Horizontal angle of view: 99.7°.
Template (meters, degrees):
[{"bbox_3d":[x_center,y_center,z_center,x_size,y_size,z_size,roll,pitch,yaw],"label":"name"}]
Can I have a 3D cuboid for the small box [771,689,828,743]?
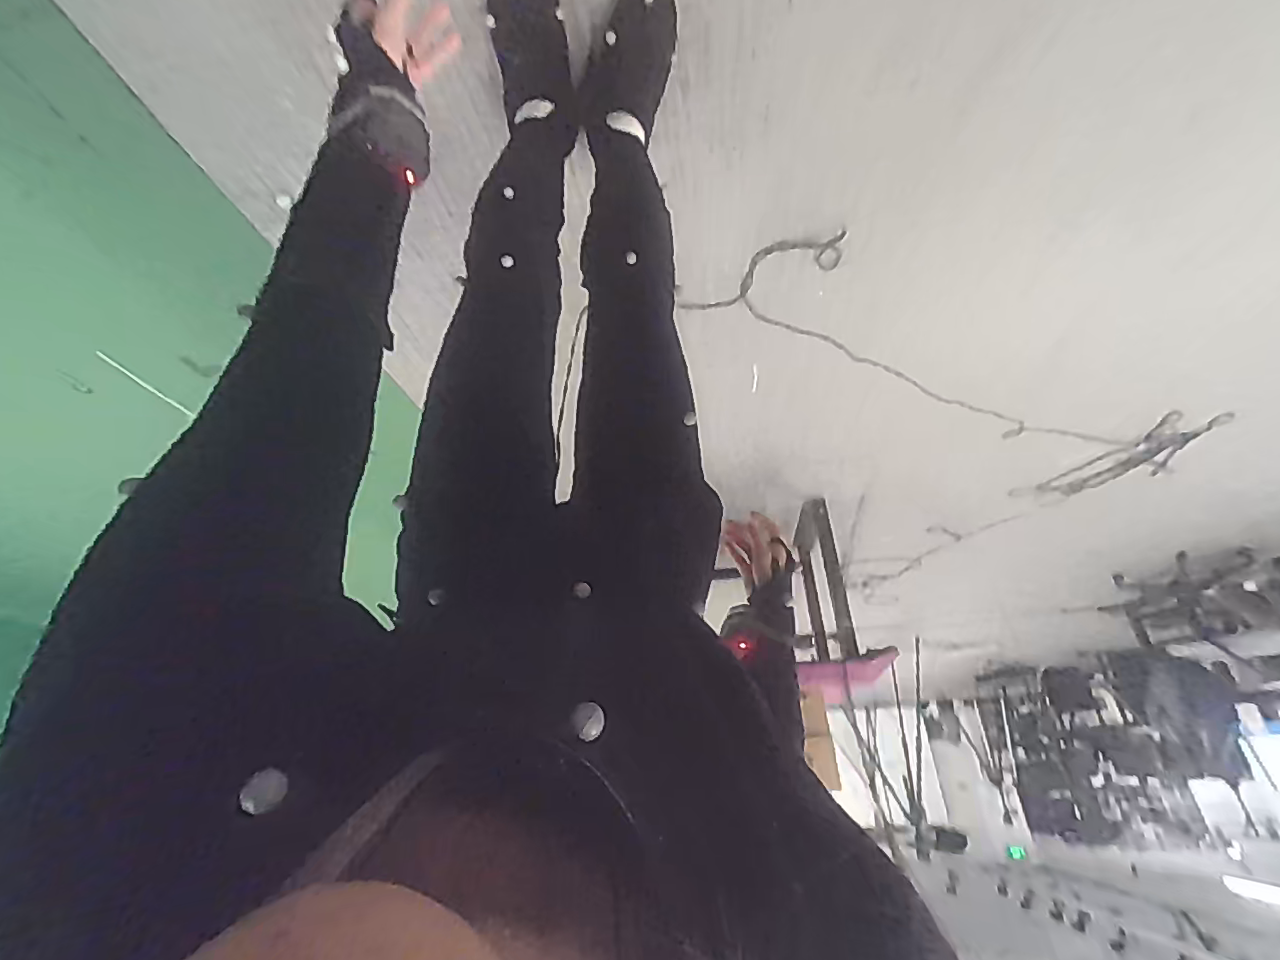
[{"bbox_3d":[0.576,0.861,1.971,0.168,0.176,0.179,-7,150,7],"label":"small box"}]
